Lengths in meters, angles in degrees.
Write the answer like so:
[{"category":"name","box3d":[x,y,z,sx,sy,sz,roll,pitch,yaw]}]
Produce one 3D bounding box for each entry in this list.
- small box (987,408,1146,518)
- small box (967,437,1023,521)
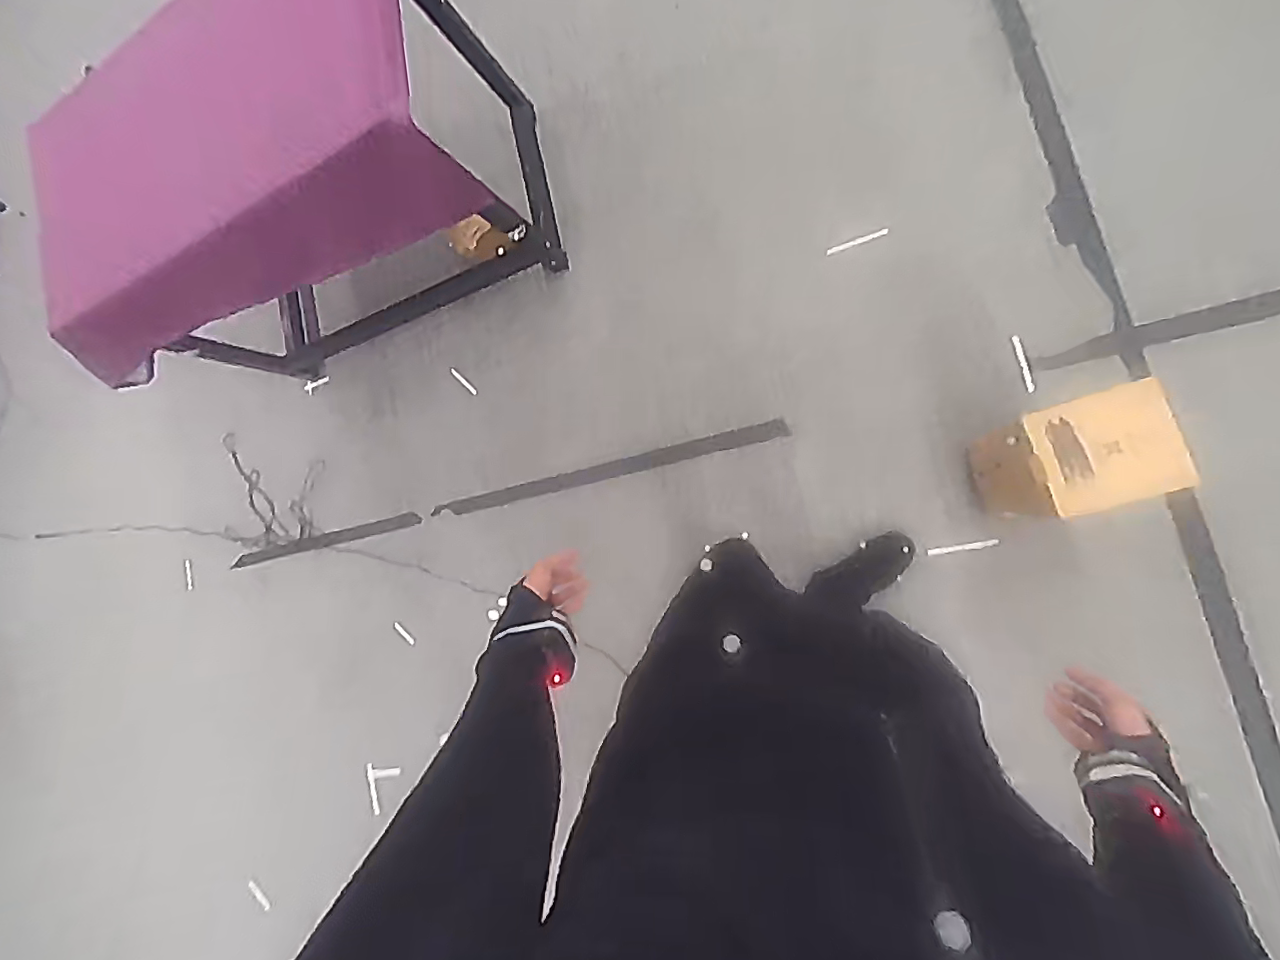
[{"category":"small box","box3d":[0.781,-0.028,1.010,0.179,0.176,0.168,-13,85,22]},{"category":"small box","box3d":[0.832,-0.019,1.165,0.168,0.176,0.179,-17,82,21]}]
